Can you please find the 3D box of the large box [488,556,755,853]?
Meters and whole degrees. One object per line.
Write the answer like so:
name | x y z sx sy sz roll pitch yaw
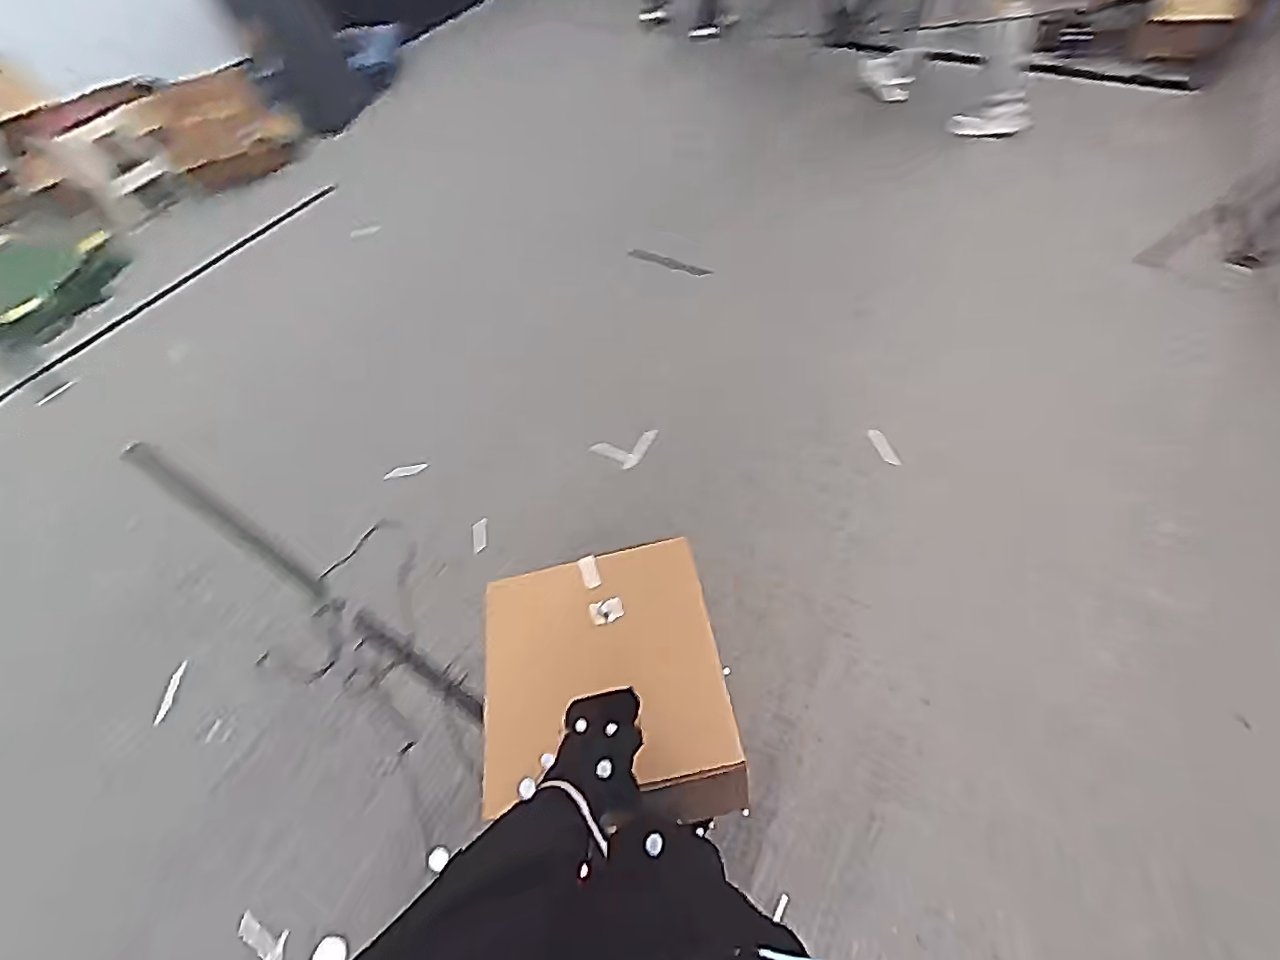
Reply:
large box | -0.017 0.372 0.862 0.320 0.408 0.320 -14 52 3
